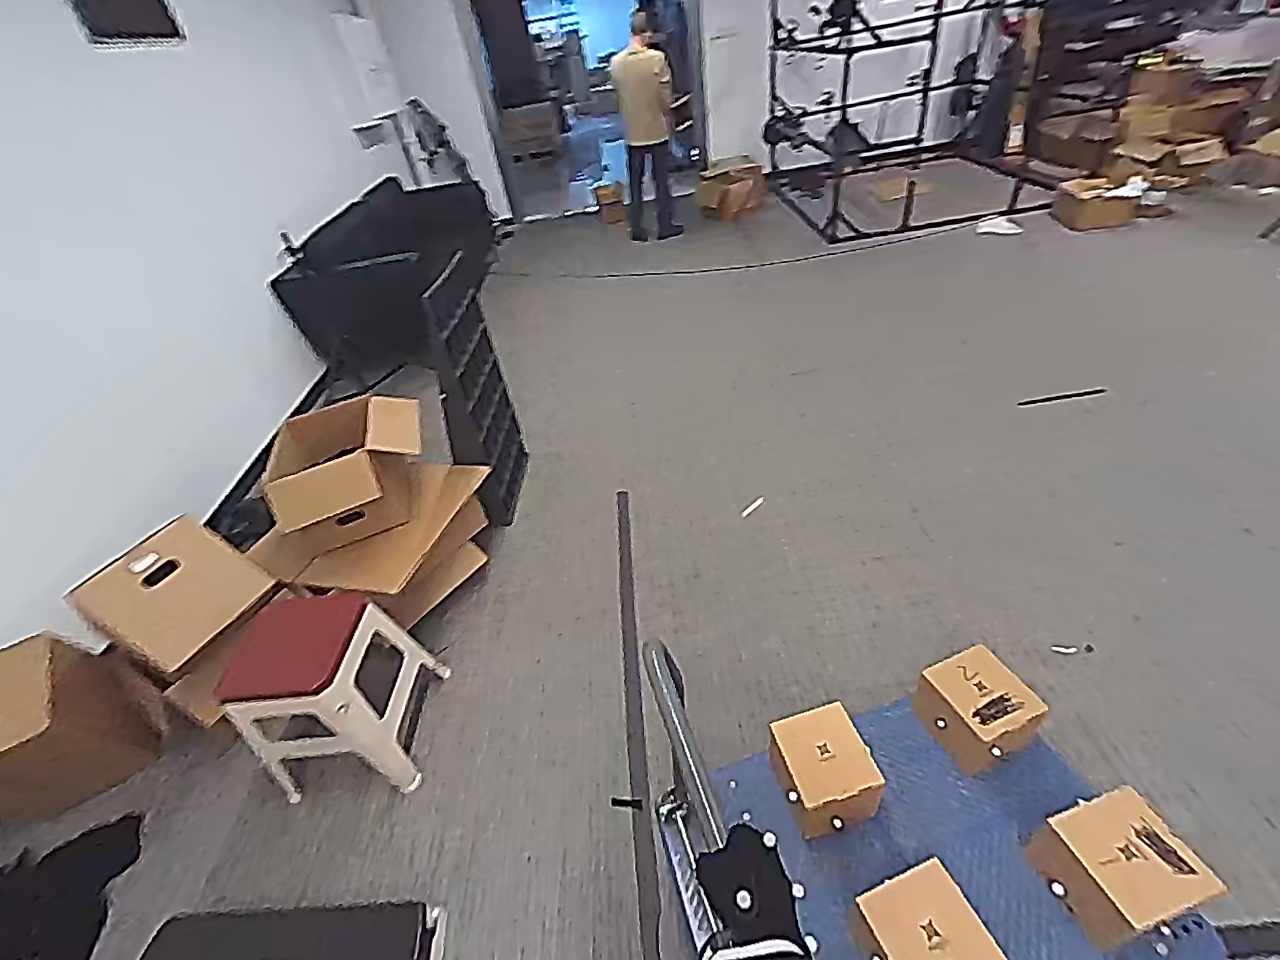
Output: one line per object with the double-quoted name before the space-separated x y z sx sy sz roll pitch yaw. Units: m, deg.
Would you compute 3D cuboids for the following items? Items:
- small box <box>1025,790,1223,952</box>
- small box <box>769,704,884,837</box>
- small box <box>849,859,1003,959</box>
"small box" 0.834 0.691 0.957 0.179 0.176 0.168 -17 39 -6
"small box" 0.384 0.616 1.150 0.168 0.176 0.179 -14 41 -6
"small box" 0.475 0.792 0.912 0.168 0.176 0.179 -18 39 -10
